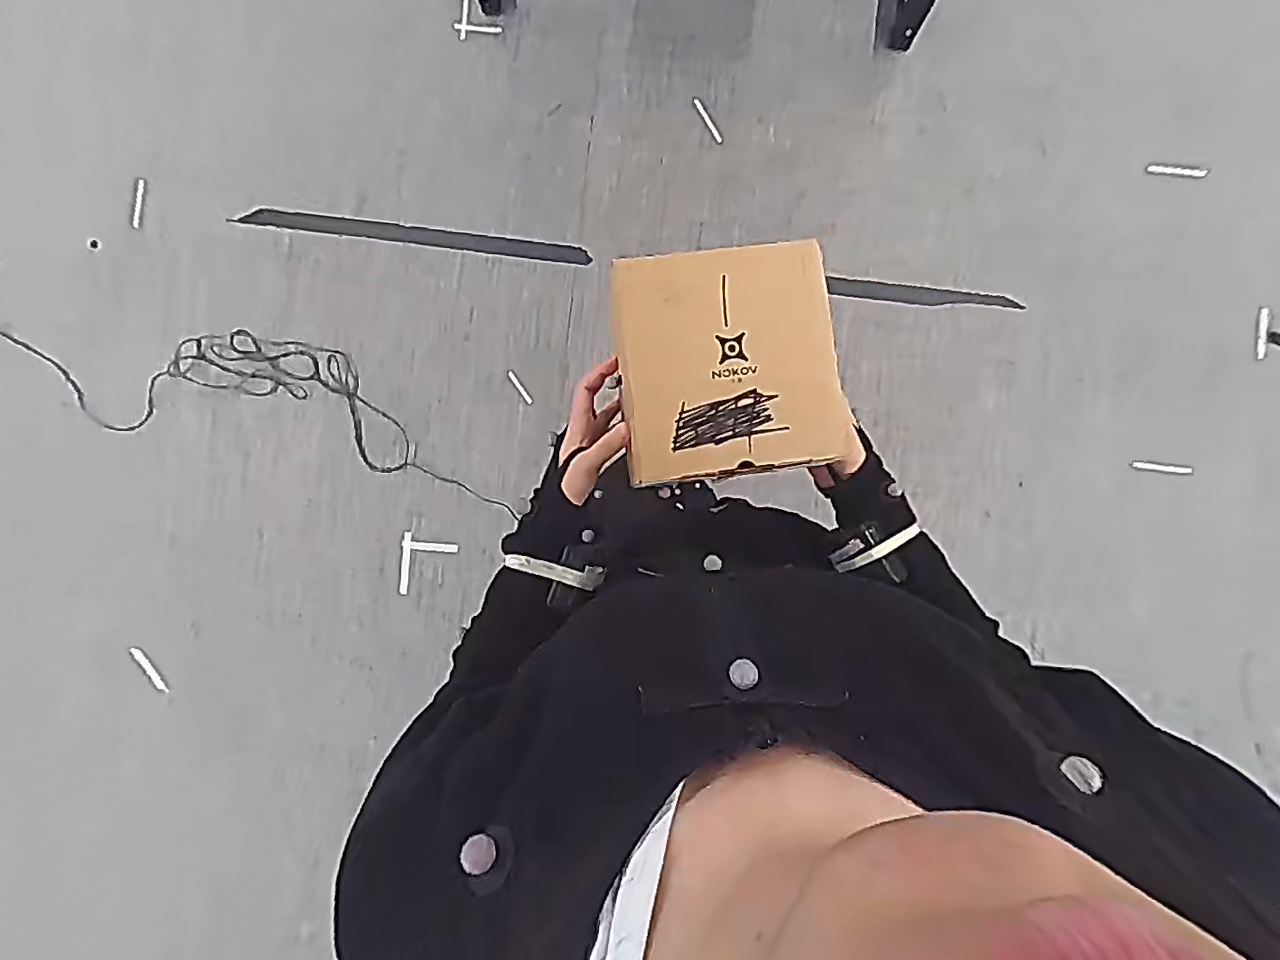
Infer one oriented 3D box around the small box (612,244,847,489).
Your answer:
[{"bbox_3d":[0.066,-0.086,0.495,0.168,0.176,0.179,-7,88,-4],"label":"small box"}]
